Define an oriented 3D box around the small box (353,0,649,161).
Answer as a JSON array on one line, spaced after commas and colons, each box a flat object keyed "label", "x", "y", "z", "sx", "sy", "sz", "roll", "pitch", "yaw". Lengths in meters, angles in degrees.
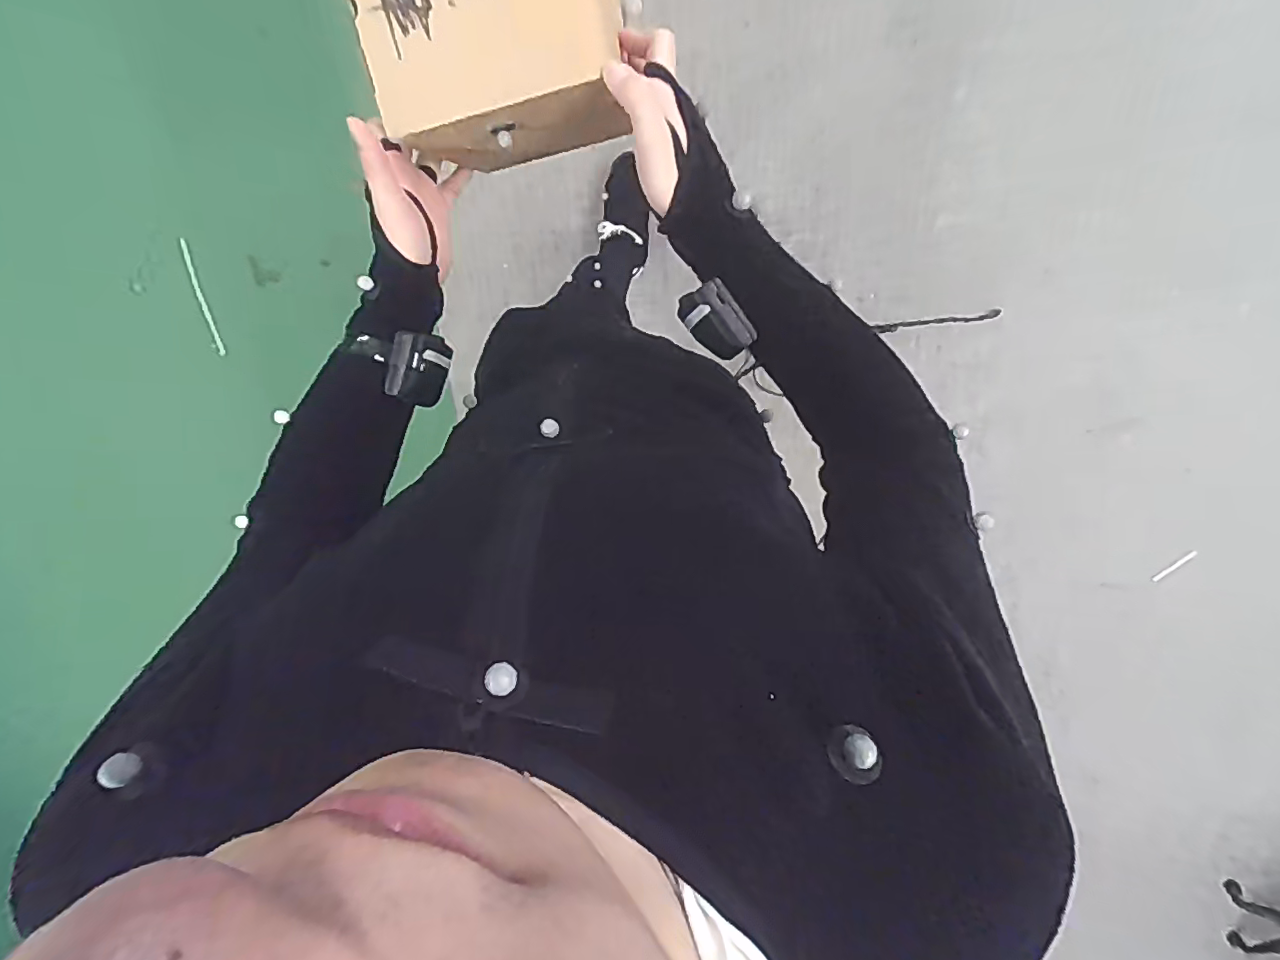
[{"label": "small box", "x": -0.102, "y": -0.371, "z": 0.425, "sx": 0.179, "sy": 0.176, "sz": 0.168, "roll": -7, "pitch": 111, "yaw": 13}]
